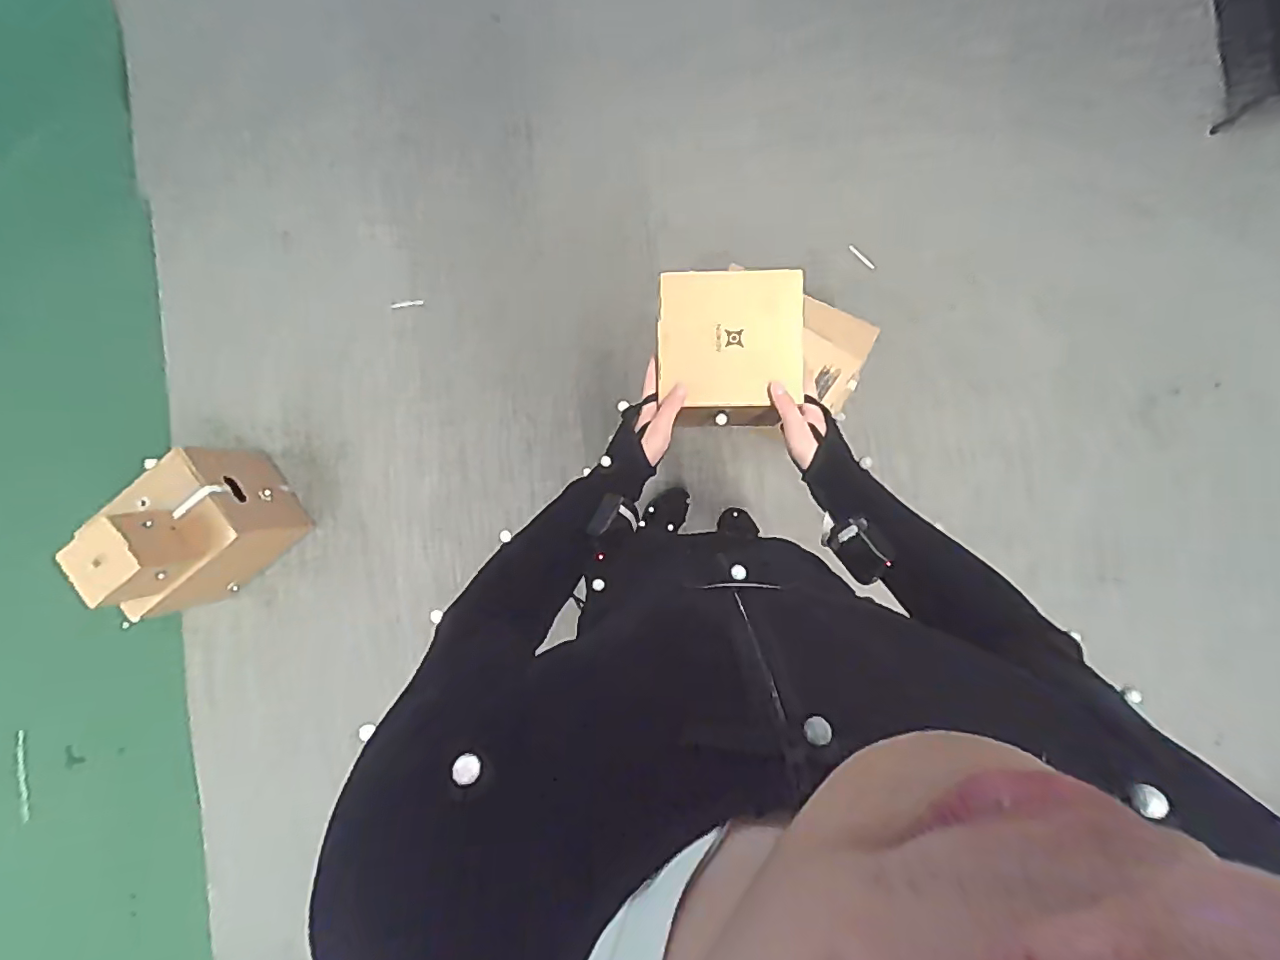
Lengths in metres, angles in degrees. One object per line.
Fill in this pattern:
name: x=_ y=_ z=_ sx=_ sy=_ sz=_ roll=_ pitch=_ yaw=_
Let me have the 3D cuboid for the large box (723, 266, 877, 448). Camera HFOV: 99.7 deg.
large box: x=0.350 y=-0.310 z=1.471 sx=0.408 sy=0.320 sz=0.320 roll=26 pitch=91 yaw=6

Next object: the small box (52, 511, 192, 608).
small box: x=-1.304 y=0.193 z=1.380 sx=0.179 sy=0.176 sz=0.168 roll=-37 pitch=87 yaw=5

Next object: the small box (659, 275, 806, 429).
small box: x=0.115 y=-0.161 z=0.725 sx=0.179 sy=0.176 sz=0.168 roll=0 pitch=87 yaw=4
